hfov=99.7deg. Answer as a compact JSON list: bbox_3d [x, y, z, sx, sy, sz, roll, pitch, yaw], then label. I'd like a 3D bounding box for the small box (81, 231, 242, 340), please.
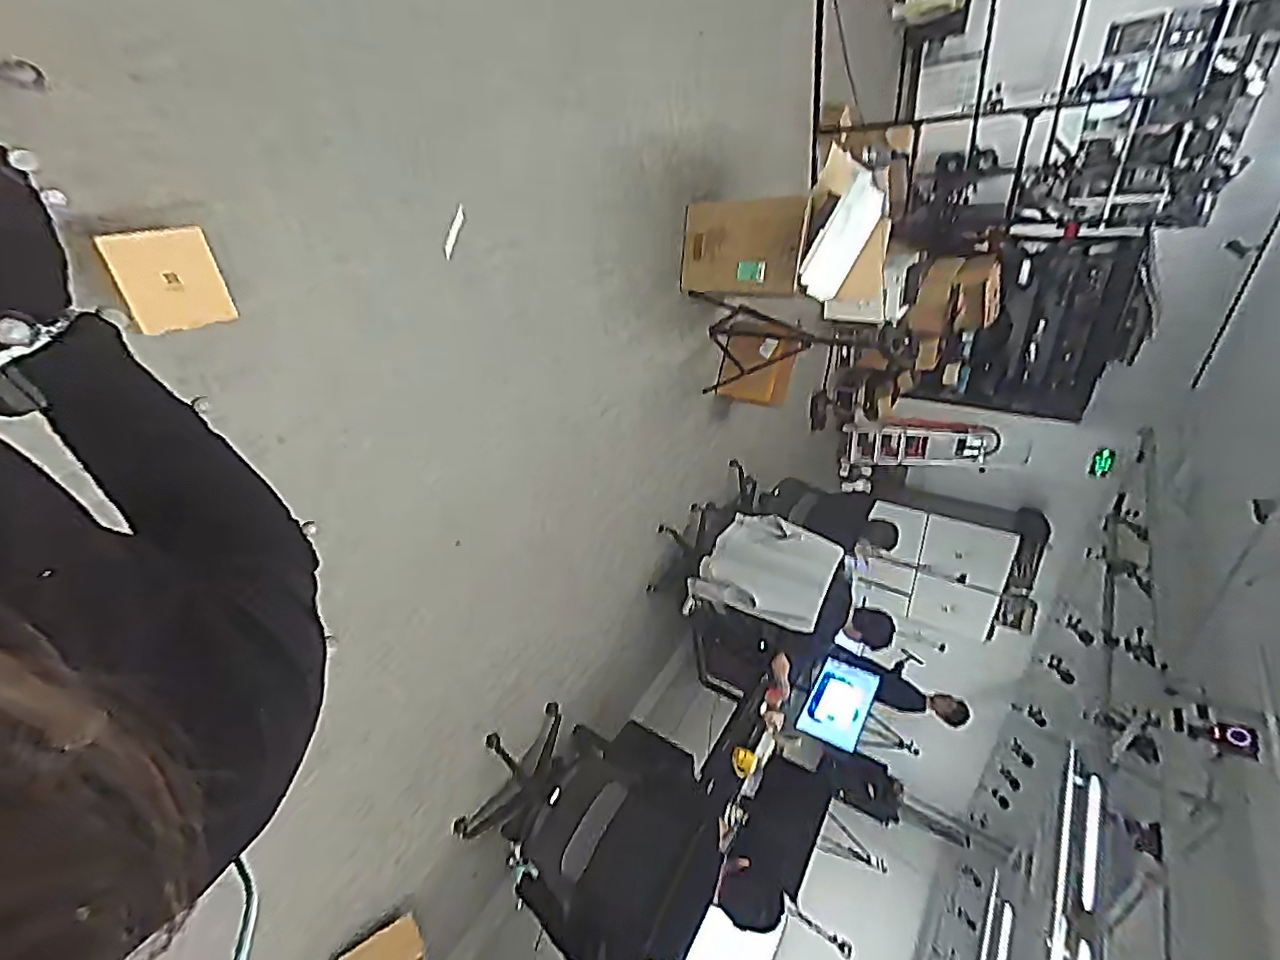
[{"bbox_3d":[-0.954,-0.390,1.080,0.168,0.176,0.179,-38,133,-43],"label":"small box"}]
